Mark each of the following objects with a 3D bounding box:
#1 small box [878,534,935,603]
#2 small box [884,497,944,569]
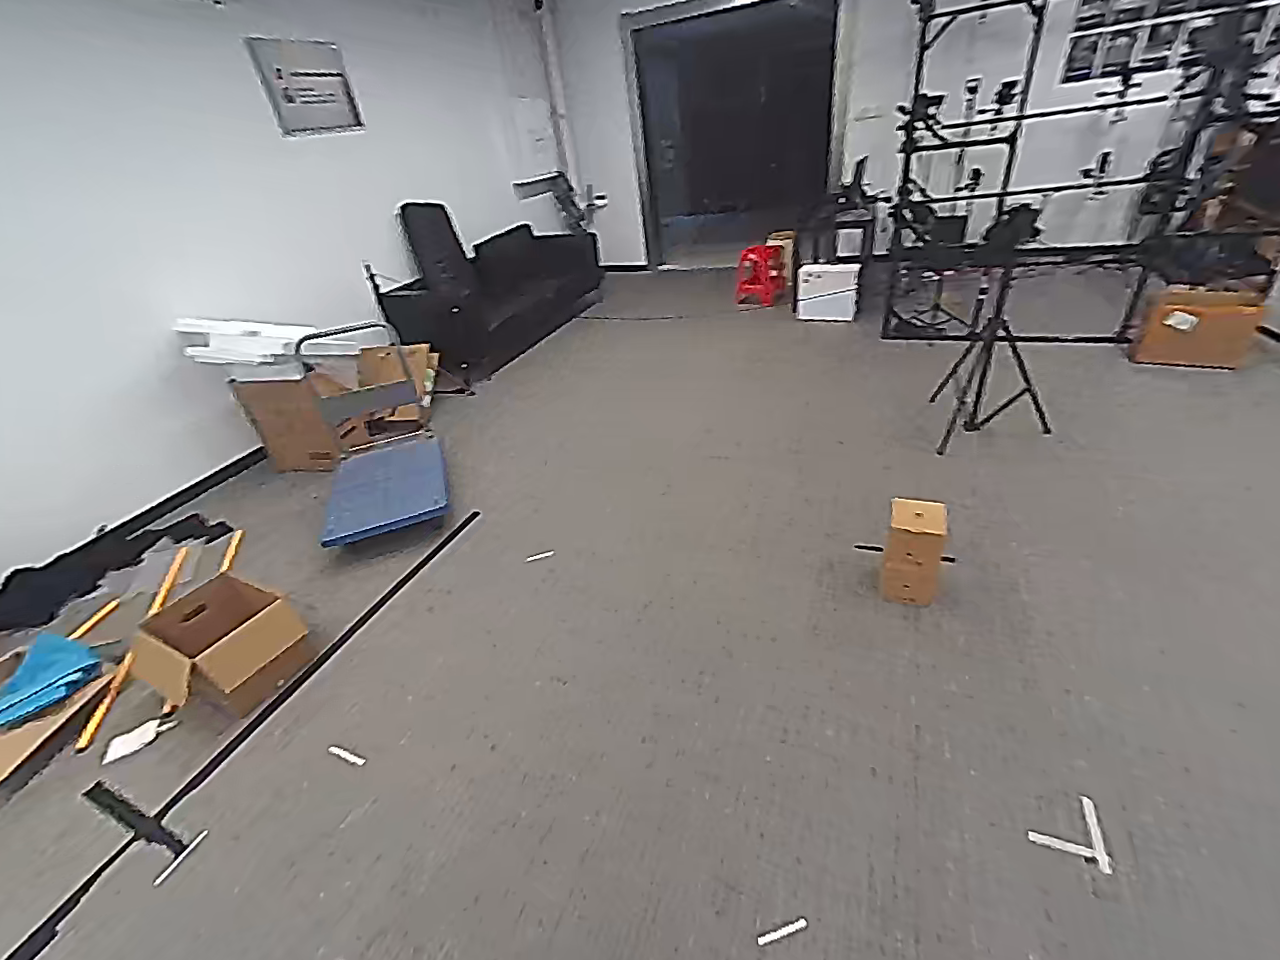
[{"bbox_3d":[0.970,0.324,1.974,0.168,0.176,0.179,6,35,21],"label":"small box"},{"bbox_3d":[0.955,0.184,1.891,0.168,0.176,0.179,7,36,23],"label":"small box"}]
